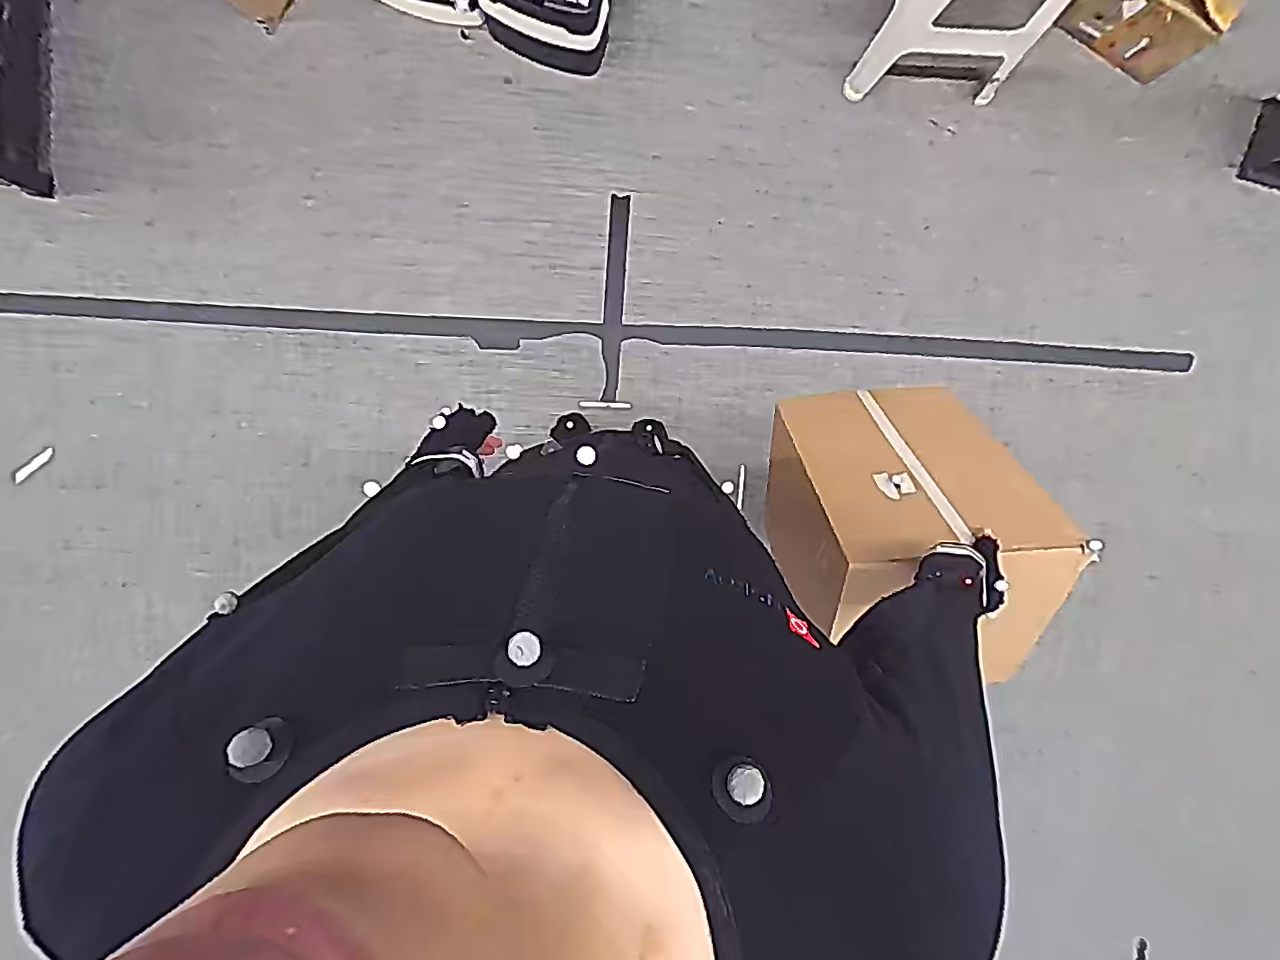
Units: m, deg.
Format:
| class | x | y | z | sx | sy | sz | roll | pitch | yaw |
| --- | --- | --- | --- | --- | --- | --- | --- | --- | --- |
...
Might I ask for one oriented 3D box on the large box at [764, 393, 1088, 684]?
| class | x | y | z | sx | sy | sz | roll | pitch | yaw |
| --- | --- | --- | --- | --- | --- | --- | --- | --- | --- |
| large box | 0.425 | 0.089 | 0.943 | 0.320 | 0.408 | 0.320 | -4 | 130 | 1 |
